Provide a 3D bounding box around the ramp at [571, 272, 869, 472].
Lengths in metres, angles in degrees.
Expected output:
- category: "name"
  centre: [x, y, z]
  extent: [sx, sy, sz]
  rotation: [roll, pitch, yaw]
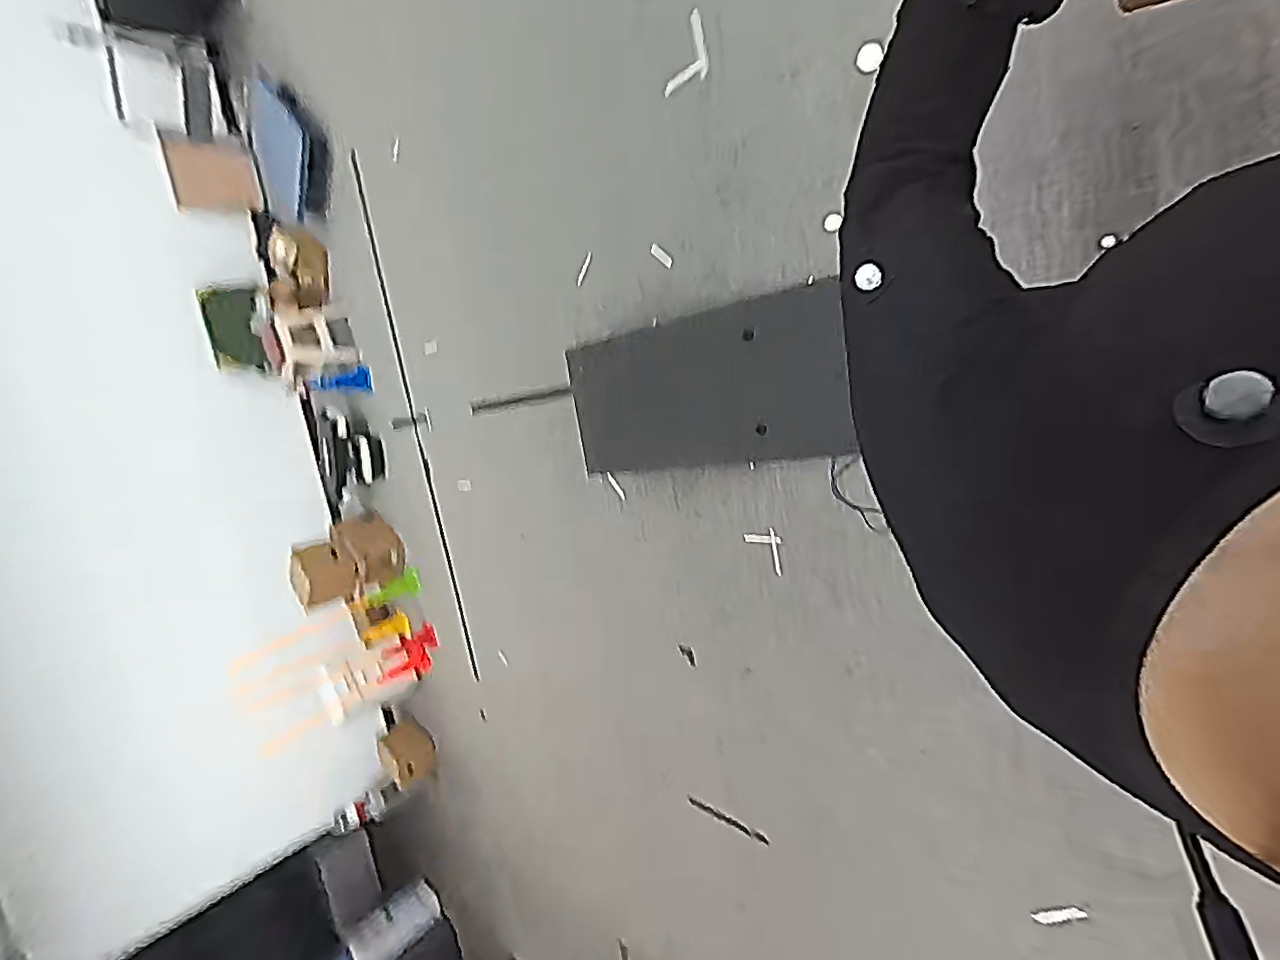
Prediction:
- category: "ramp"
  centre: [0.194, -0.298, 1.759]
  extent: [0.991, 0.206, 0.509]
  rotation: [-4, 99, 45]
